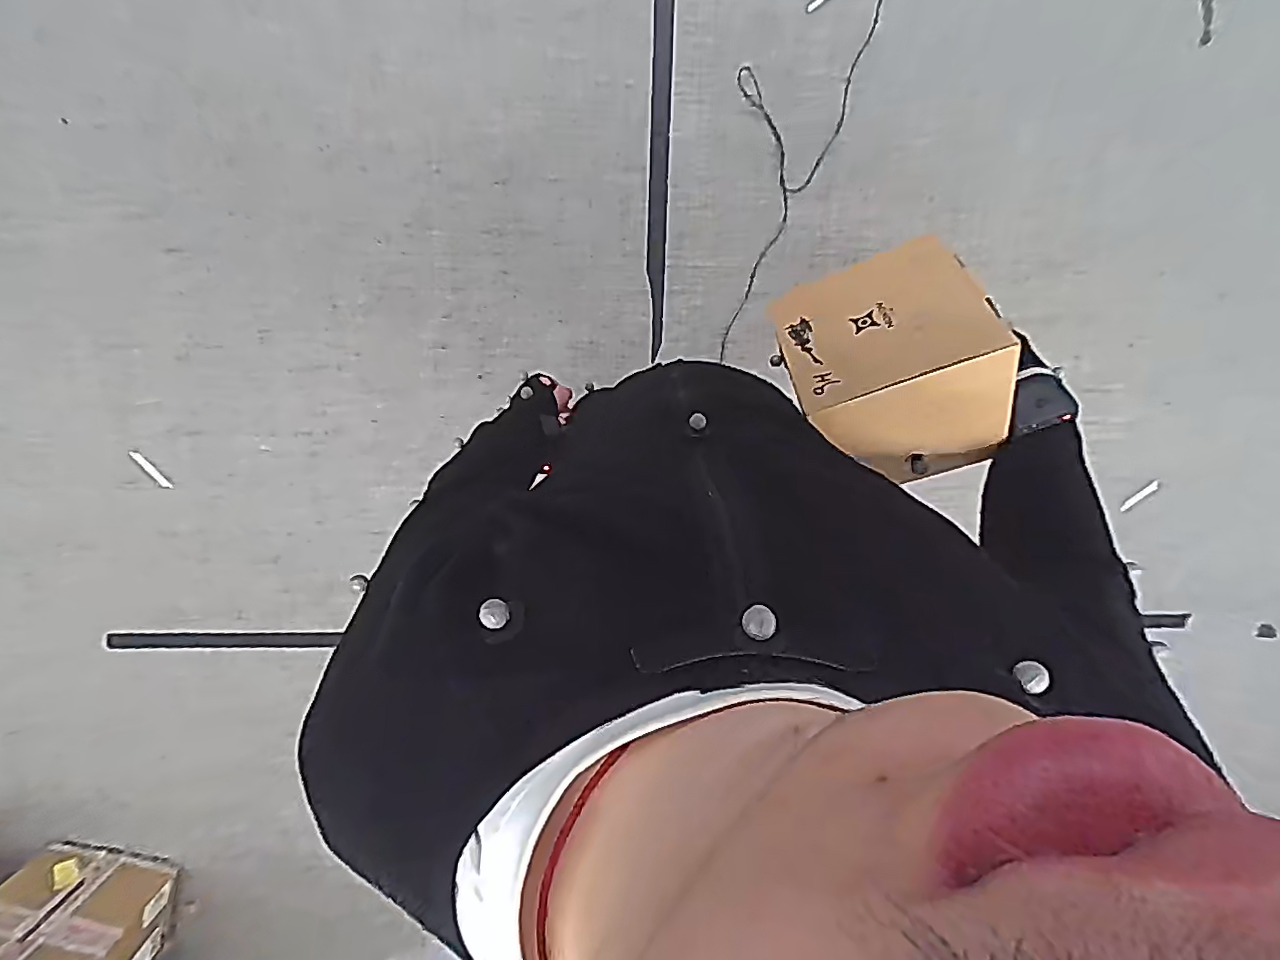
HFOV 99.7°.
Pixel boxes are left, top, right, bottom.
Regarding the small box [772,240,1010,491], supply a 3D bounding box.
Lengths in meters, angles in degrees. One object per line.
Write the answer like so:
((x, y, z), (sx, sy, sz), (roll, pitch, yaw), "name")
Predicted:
((0.260, -0.113, 0.584), (0.179, 0.168, 0.176), (-18, 141, 17), "small box")
